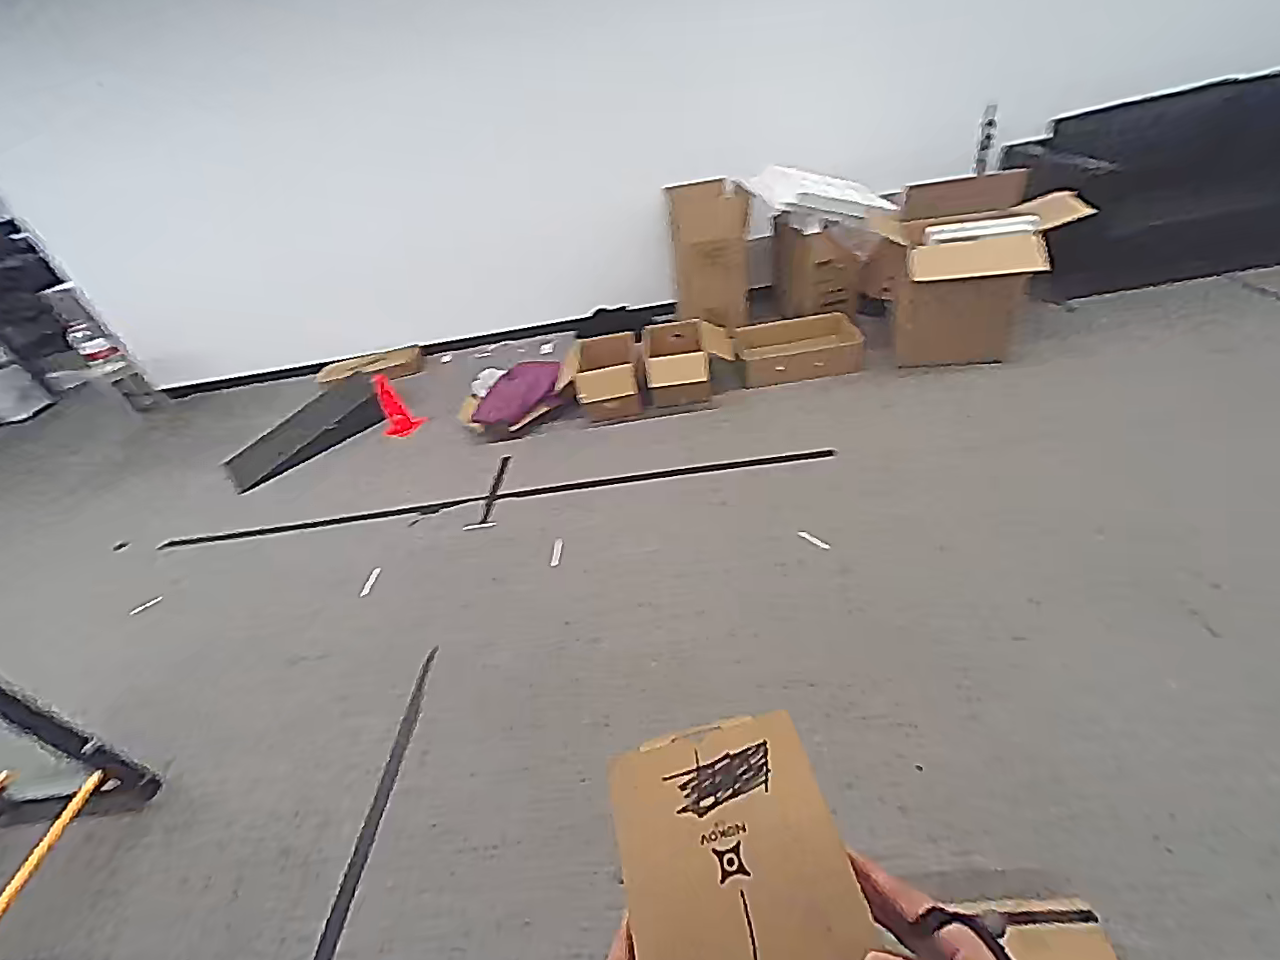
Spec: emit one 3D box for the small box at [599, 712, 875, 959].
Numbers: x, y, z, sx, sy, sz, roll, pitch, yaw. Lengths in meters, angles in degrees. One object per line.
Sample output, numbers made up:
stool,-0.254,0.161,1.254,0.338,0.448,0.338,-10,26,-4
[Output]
small box,0.071,0.337,0.464,0.168,0.176,0.179,-16,43,-2
